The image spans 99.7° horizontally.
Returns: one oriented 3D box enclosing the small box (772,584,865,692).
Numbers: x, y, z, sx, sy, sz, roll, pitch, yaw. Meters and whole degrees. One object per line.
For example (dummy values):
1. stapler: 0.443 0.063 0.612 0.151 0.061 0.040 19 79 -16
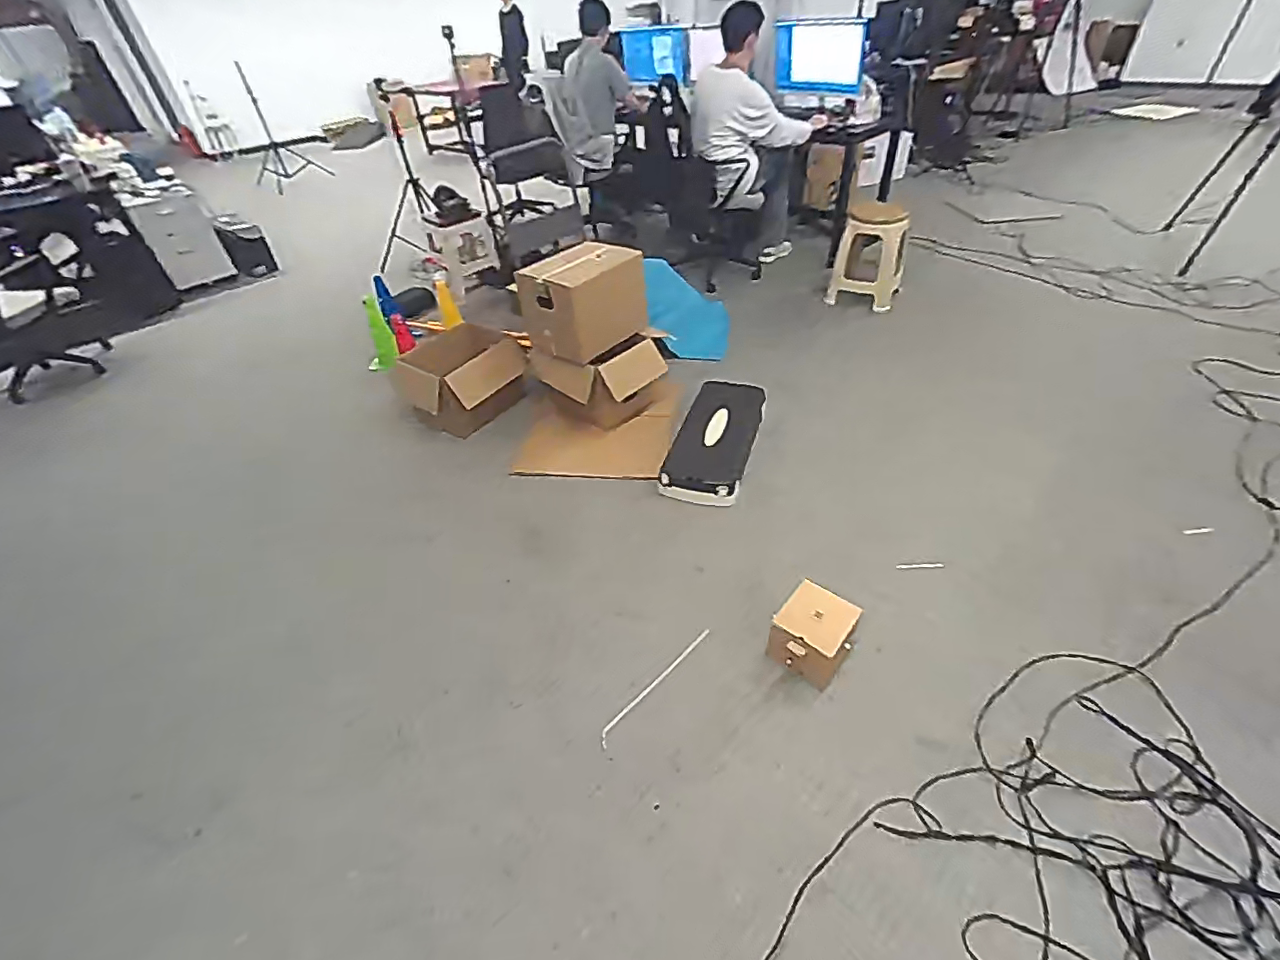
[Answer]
1. small box: 0.464 0.416 1.425 0.168 0.176 0.179 28 52 31
